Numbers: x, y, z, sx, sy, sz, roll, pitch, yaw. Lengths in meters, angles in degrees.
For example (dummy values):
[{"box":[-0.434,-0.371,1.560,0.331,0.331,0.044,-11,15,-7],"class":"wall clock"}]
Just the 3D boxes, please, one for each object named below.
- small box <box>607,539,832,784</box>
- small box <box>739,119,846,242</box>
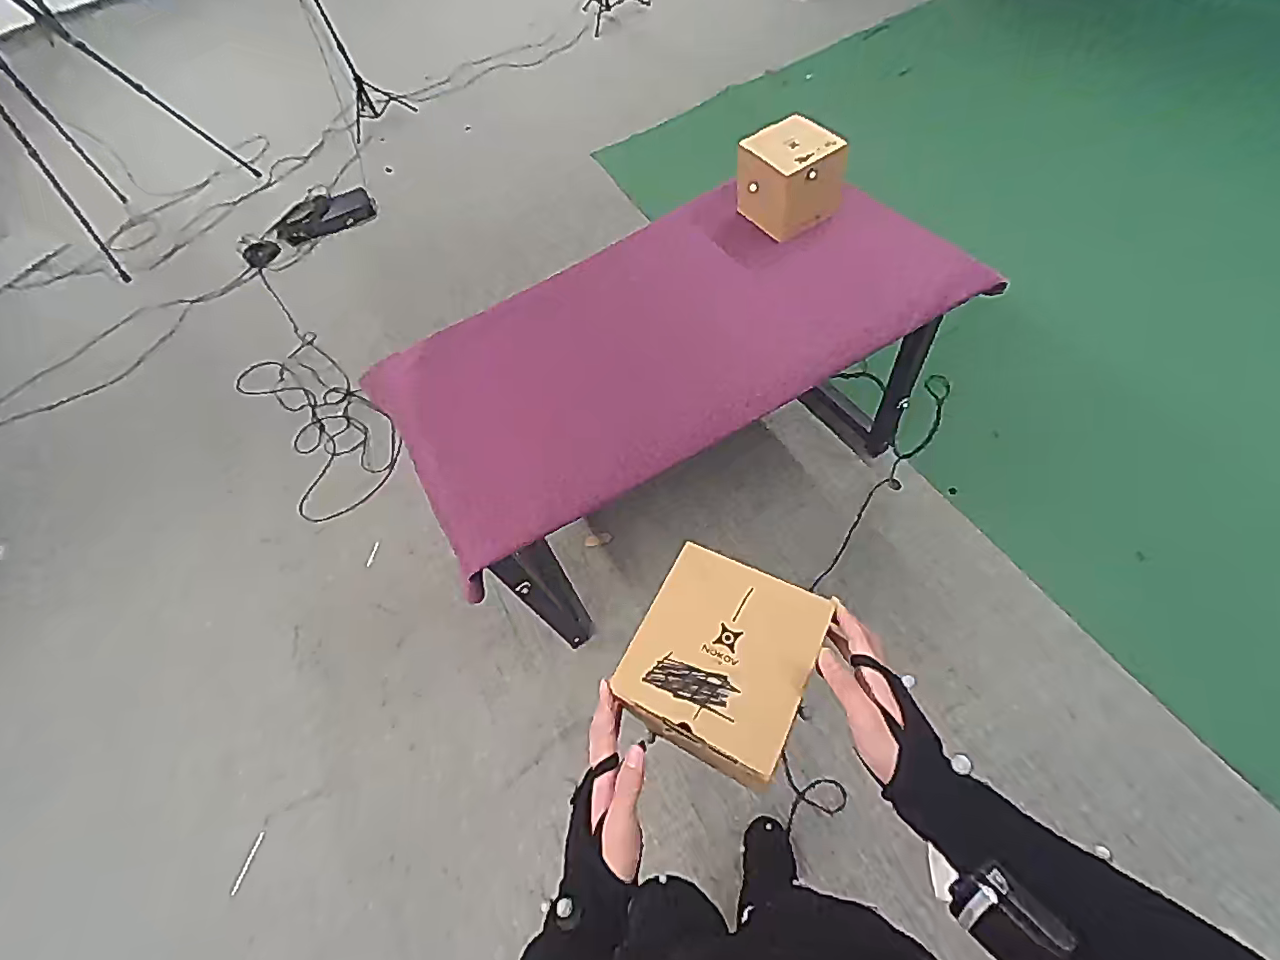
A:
[{"box":[0.091,0.201,0.588,0.168,0.176,0.179,22,62,23],"class":"small box"},{"box":[0.345,-0.691,1.256,0.168,0.176,0.179,-31,59,-8],"class":"small box"}]
